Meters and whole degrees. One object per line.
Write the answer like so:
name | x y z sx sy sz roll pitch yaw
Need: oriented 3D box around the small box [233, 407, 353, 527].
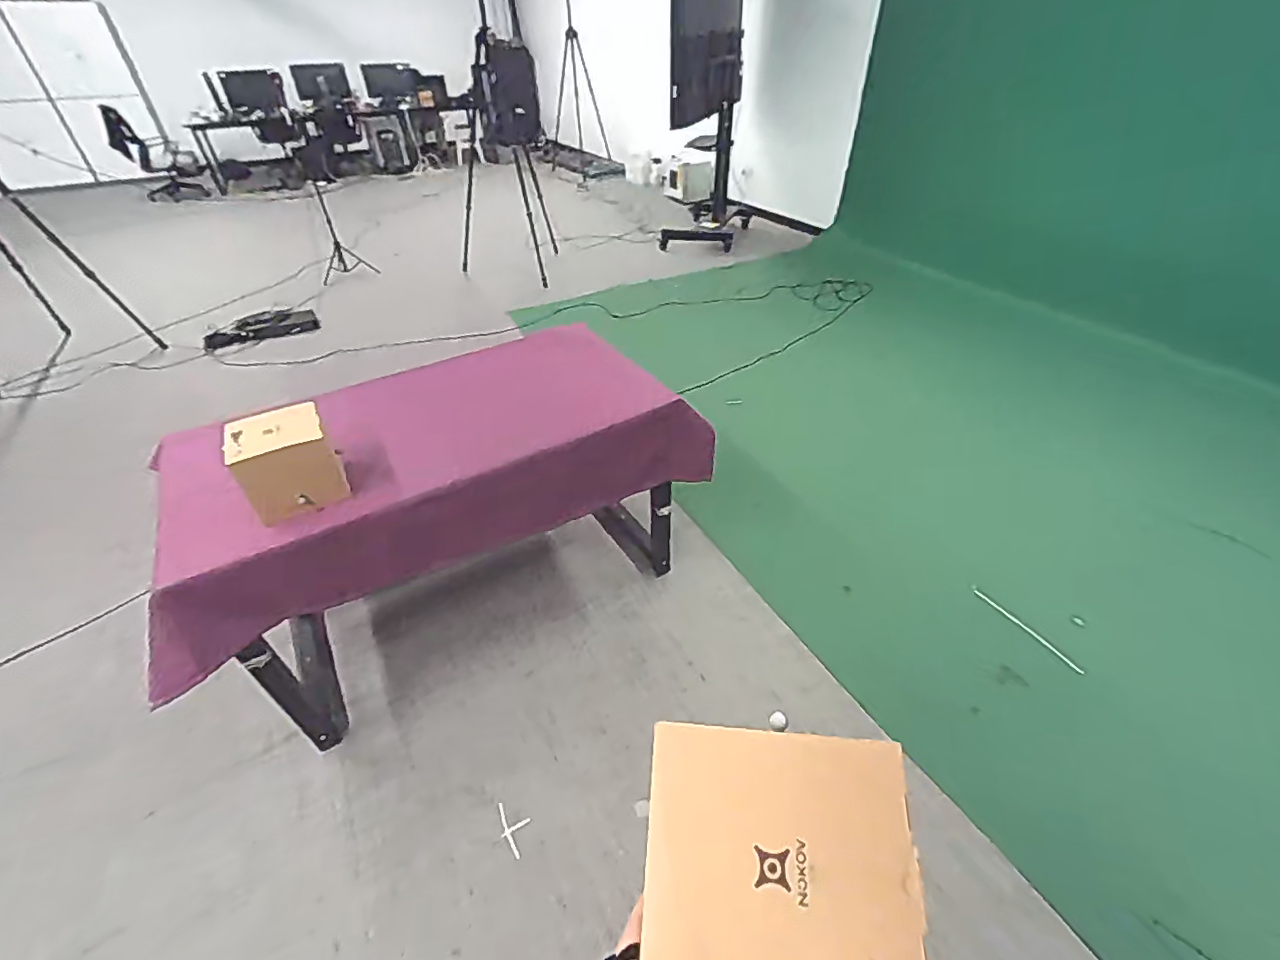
small box | -0.744 -0.029 1.171 0.179 0.176 0.168 -21 43 -22

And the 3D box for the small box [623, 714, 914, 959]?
small box | 0.088 0.288 0.421 0.179 0.176 0.168 2 61 6
